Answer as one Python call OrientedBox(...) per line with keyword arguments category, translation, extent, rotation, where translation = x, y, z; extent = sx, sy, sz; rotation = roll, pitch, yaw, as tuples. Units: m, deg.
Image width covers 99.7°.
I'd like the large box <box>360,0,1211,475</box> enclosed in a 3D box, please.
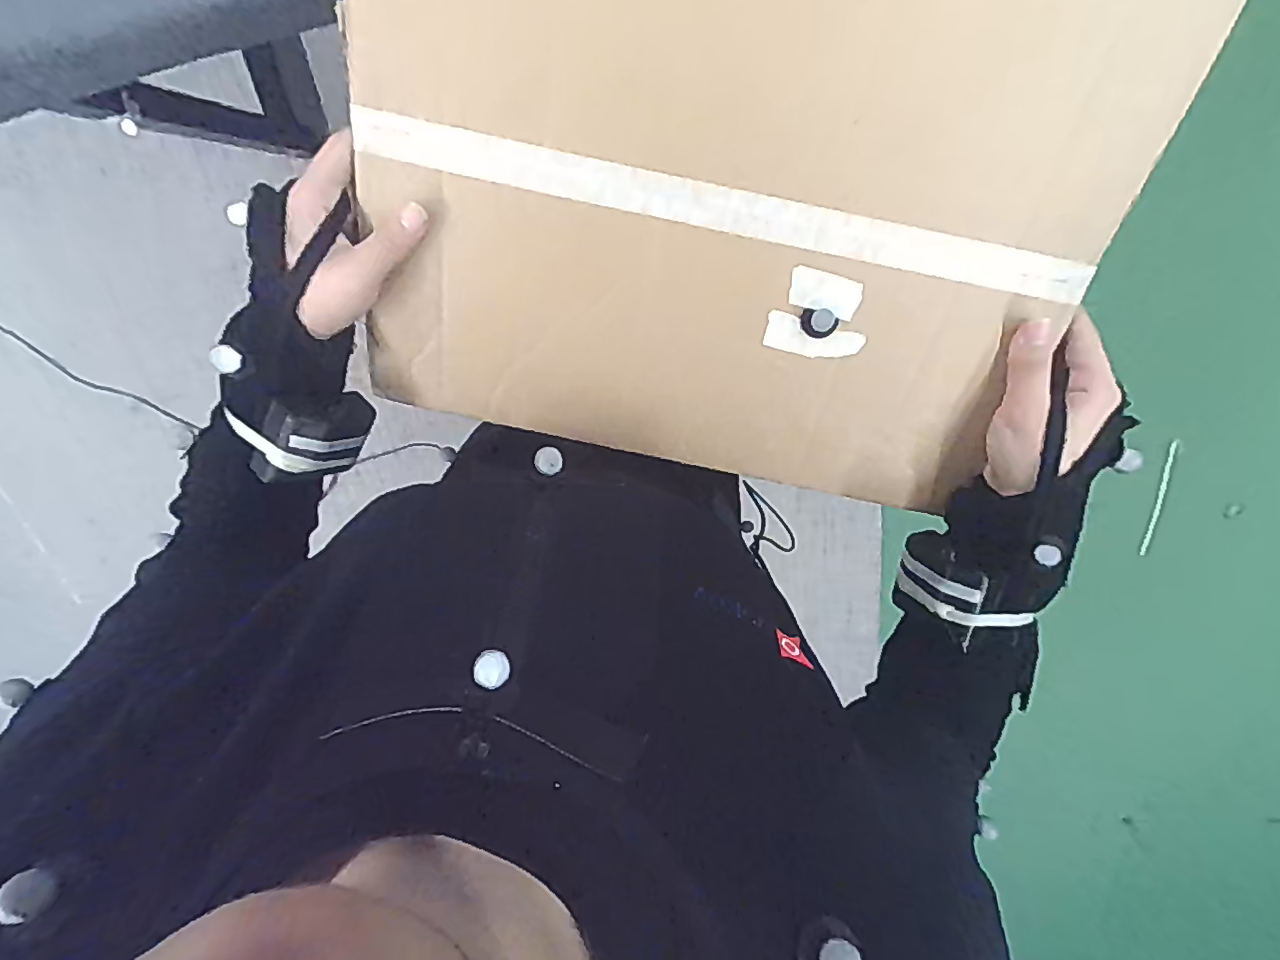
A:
OrientedBox(category="large box", translation=(0.056, -0.235, 0.422), extent=(0.408, 0.320, 0.320), rotation=(10, 119, -2))
